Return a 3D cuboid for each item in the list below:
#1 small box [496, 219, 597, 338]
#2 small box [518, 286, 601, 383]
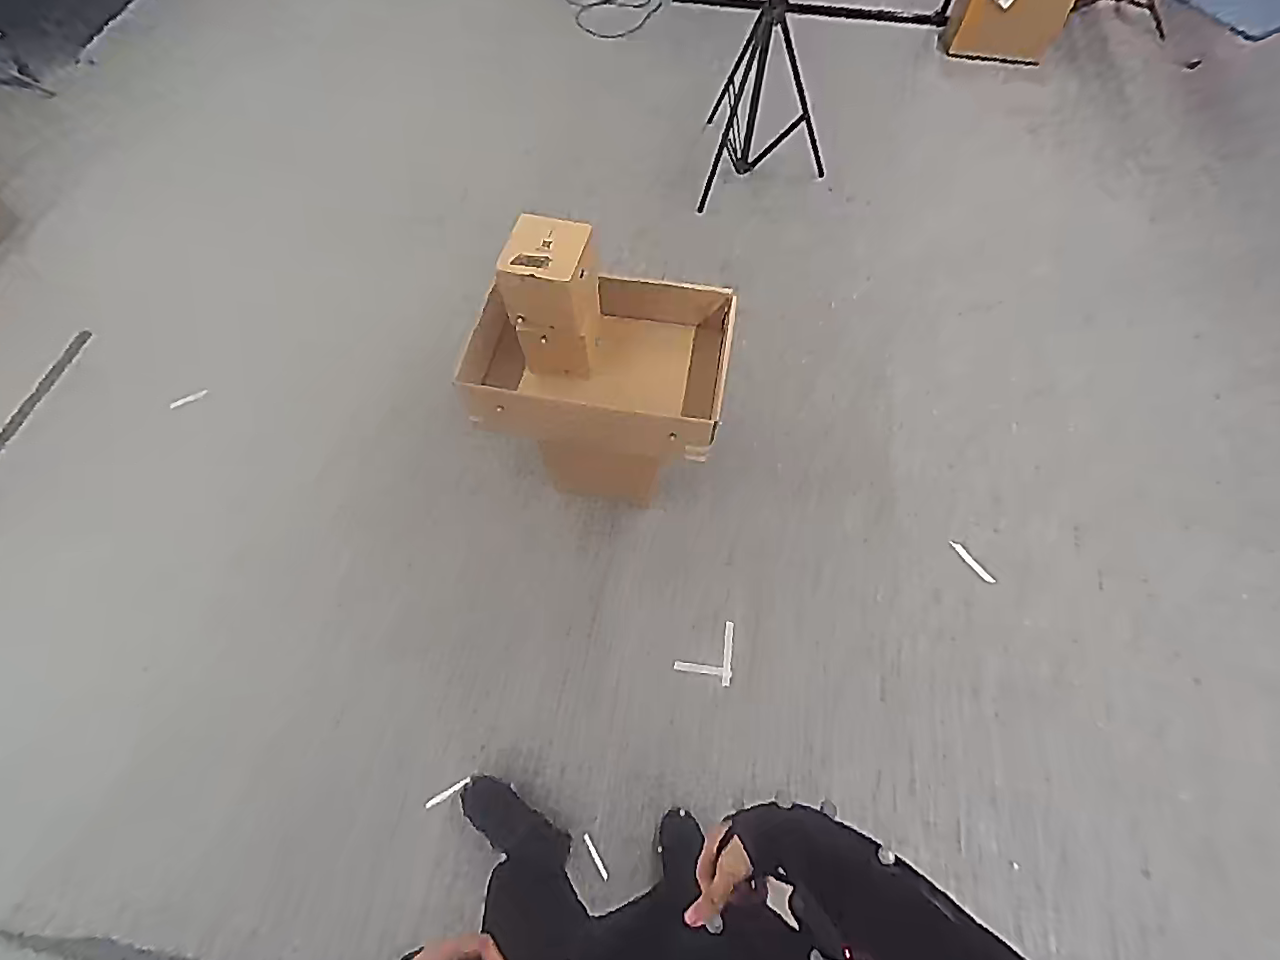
[{"bbox_3d":[-0.198,-0.445,1.211,0.168,0.176,0.179,13,65,6],"label":"small box"},{"bbox_3d":[-0.193,-0.372,1.359,0.168,0.176,0.179,7,64,4],"label":"small box"}]
